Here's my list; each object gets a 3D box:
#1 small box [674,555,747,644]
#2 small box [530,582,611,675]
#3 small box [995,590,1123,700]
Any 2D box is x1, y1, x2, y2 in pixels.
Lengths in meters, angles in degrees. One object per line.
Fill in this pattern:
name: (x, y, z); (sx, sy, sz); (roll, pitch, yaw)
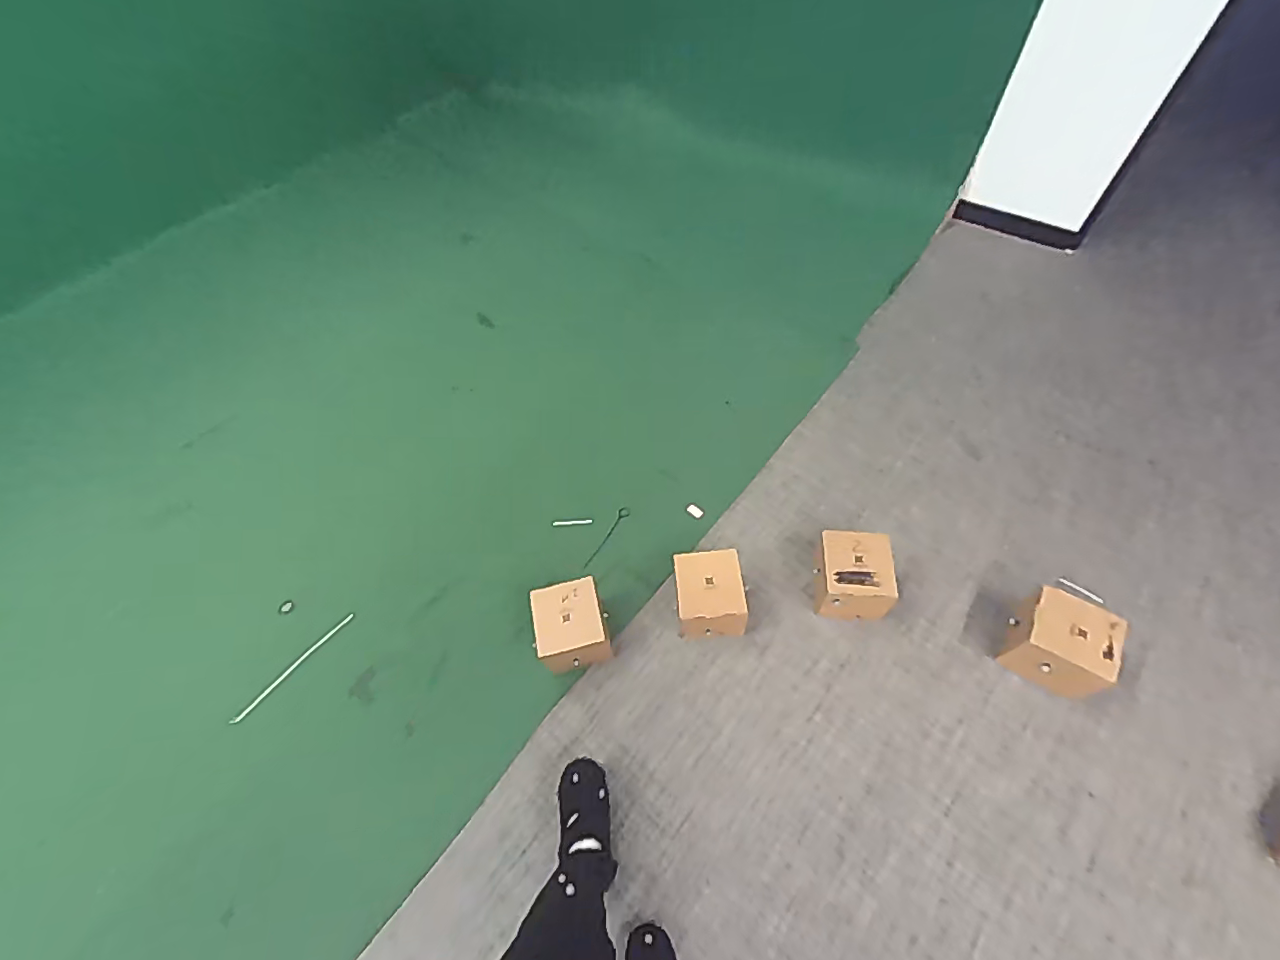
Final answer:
small box: (0.178, 0.317, 1.421); (0.168, 0.176, 0.179); (-6, 57, 1)
small box: (-0.177, 0.392, 1.399); (0.168, 0.176, 0.179); (-13, 56, -4)
small box: (0.988, 0.398, 1.289); (0.179, 0.176, 0.168); (26, 63, 21)
